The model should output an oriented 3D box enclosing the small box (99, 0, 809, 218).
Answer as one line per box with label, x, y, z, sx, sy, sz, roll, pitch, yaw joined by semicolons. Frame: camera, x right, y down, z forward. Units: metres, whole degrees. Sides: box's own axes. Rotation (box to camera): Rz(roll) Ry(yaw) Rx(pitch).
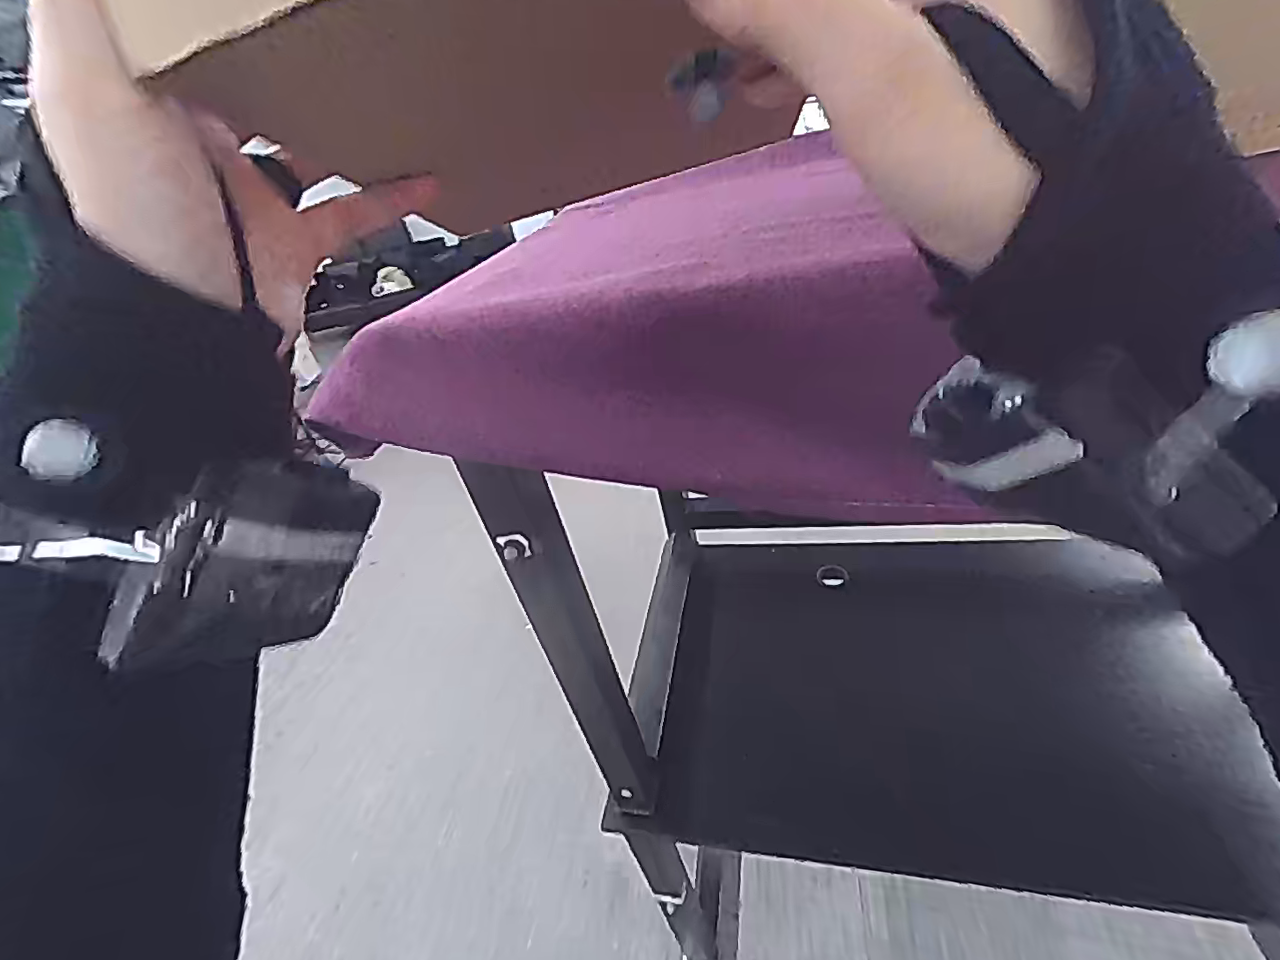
small box;-0.043;-0.209;0.173;0.179;0.168;0.176;-11;9;10
